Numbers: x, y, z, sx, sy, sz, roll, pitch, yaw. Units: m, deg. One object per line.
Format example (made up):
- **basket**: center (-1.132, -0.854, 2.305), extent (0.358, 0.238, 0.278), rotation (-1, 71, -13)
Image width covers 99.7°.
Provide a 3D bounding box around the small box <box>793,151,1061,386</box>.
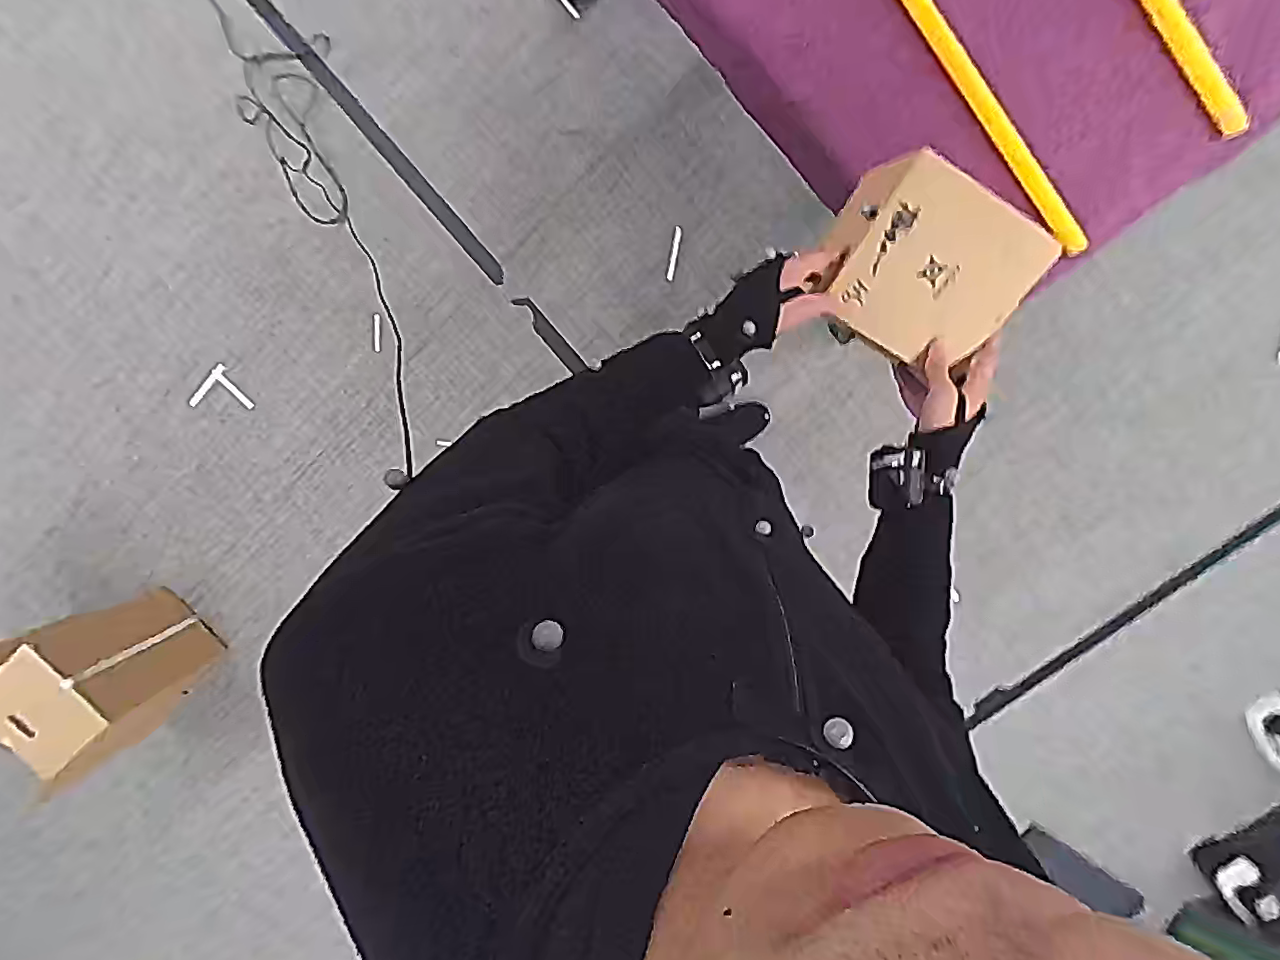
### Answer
- **small box**: center (0.305, -0.237, 0.616), extent (0.179, 0.176, 0.168), rotation (29, 112, -9)
